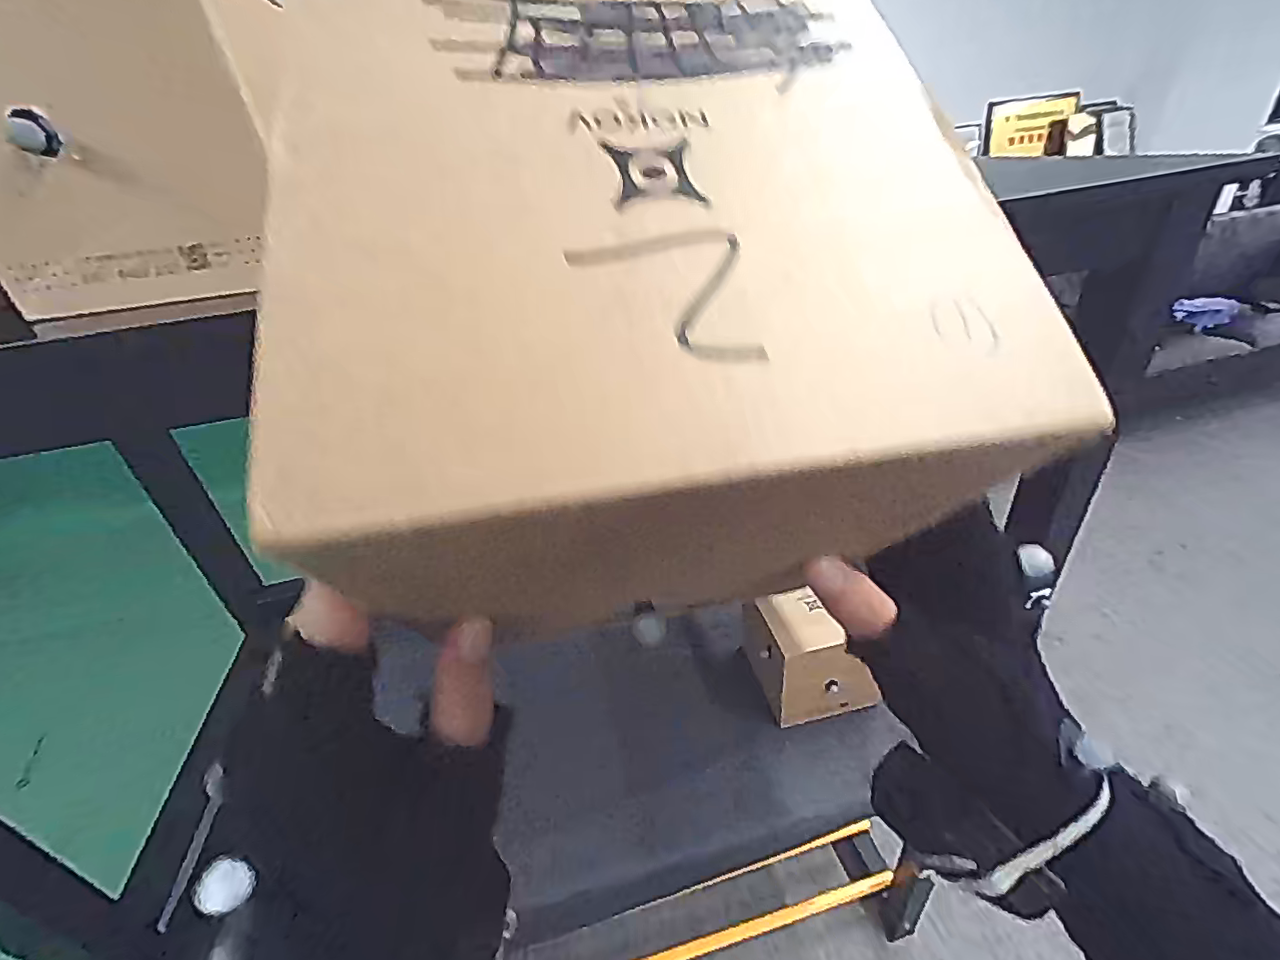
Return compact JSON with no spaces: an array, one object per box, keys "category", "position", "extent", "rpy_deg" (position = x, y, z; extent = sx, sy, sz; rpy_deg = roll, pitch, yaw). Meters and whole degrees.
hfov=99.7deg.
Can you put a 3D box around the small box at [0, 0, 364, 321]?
[{"category":"small box","position":[-0.314,-0.215,0.369],"extent":[0.168,0.176,0.179],"rpy_deg":[-12,32,-8]}]

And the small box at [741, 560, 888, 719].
[{"category":"small box","position":[0.271,0.261,0.877],"extent":[0.168,0.176,0.179],"rpy_deg":[-10,31,-6]}]
